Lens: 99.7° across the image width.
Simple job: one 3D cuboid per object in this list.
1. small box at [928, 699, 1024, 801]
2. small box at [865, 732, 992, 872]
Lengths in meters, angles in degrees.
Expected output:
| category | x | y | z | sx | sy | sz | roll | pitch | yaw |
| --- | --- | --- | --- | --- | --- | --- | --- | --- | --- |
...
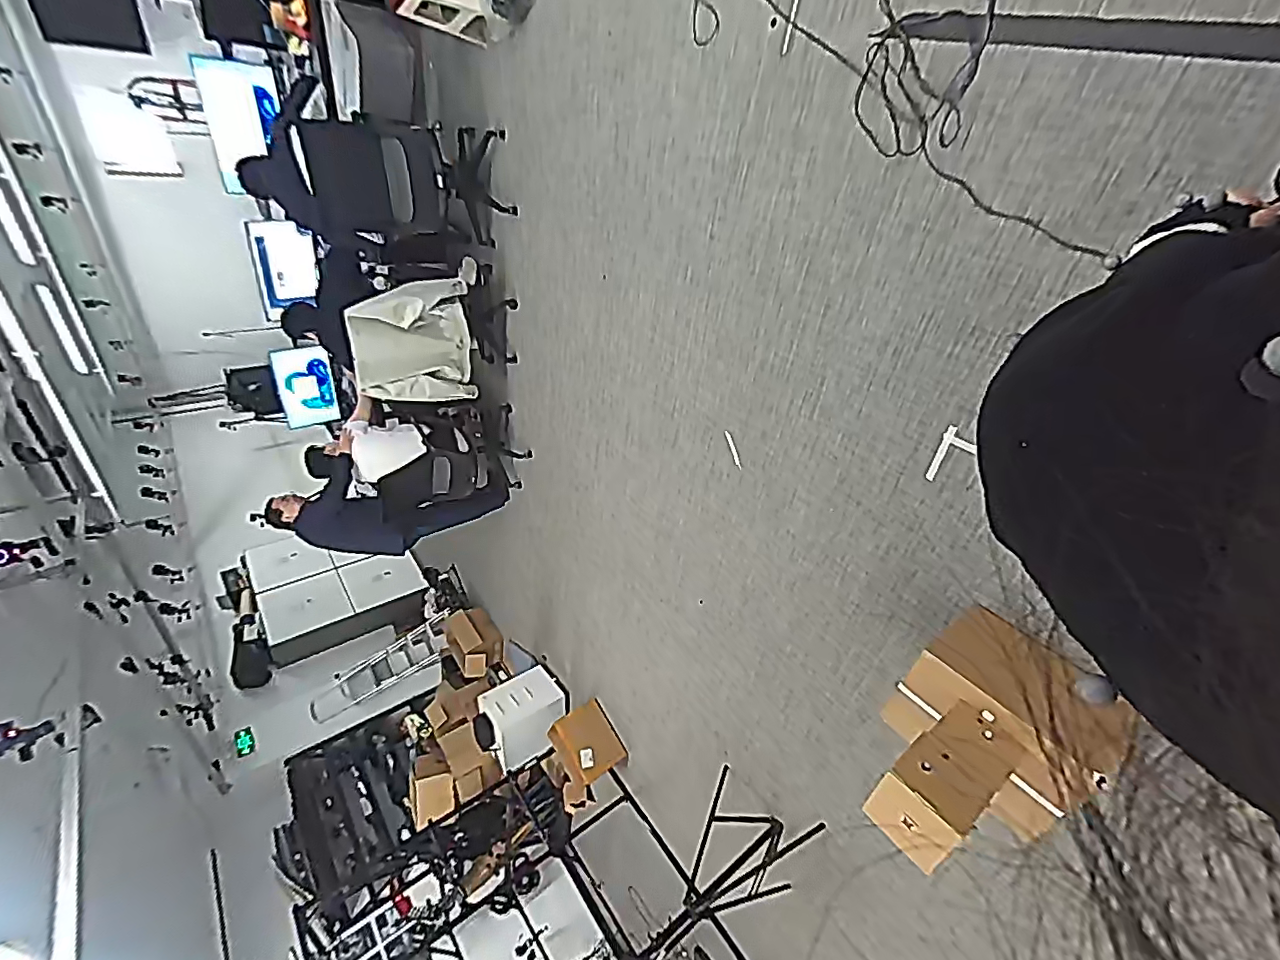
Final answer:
| category | x | y | z | sx | sy | sz | roll | pitch | yaw |
| --- | --- | --- | --- | --- | --- | --- | --- | --- | --- |
| small box | 0.768 | 0.665 | 1.287 | 0.168 | 0.176 | 0.179 | 39 | 134 | 37 |
| small box | 0.639 | 0.701 | 1.195 | 0.168 | 0.176 | 0.179 | 39 | 135 | 39 |
